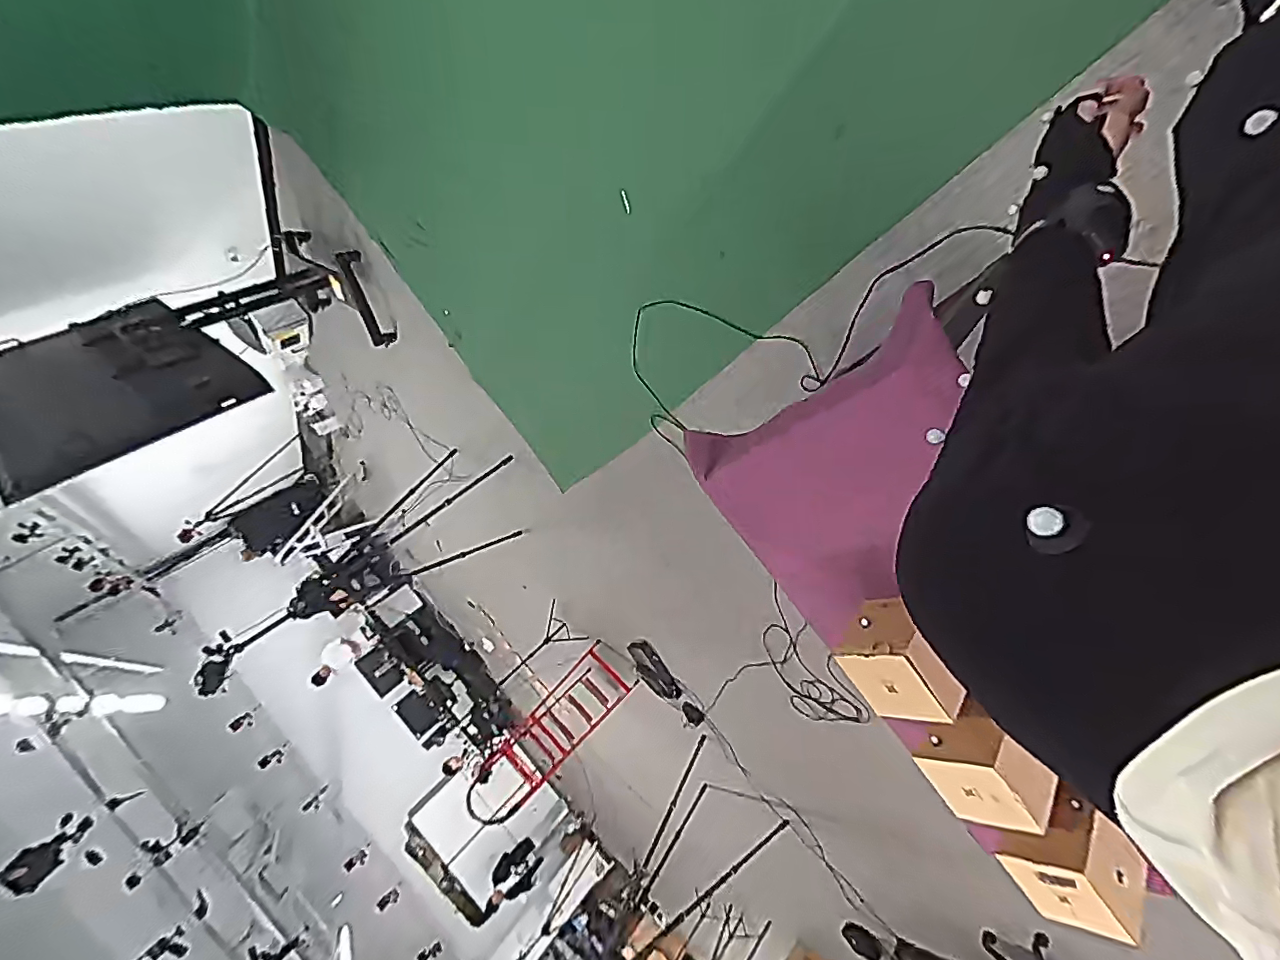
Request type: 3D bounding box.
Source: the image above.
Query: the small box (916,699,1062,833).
[{"bbox_3d":[0.716,0.571,1.108,0.168,0.176,0.179,52,145,-3],"label":"small box"}]

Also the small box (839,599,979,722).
[{"bbox_3d":[0.550,0.358,1.103,0.179,0.176,0.168,54,146,-5],"label":"small box"}]

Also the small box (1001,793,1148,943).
[{"bbox_3d":[0.881,0.766,1.097,0.179,0.176,0.168,52,146,-2],"label":"small box"}]
